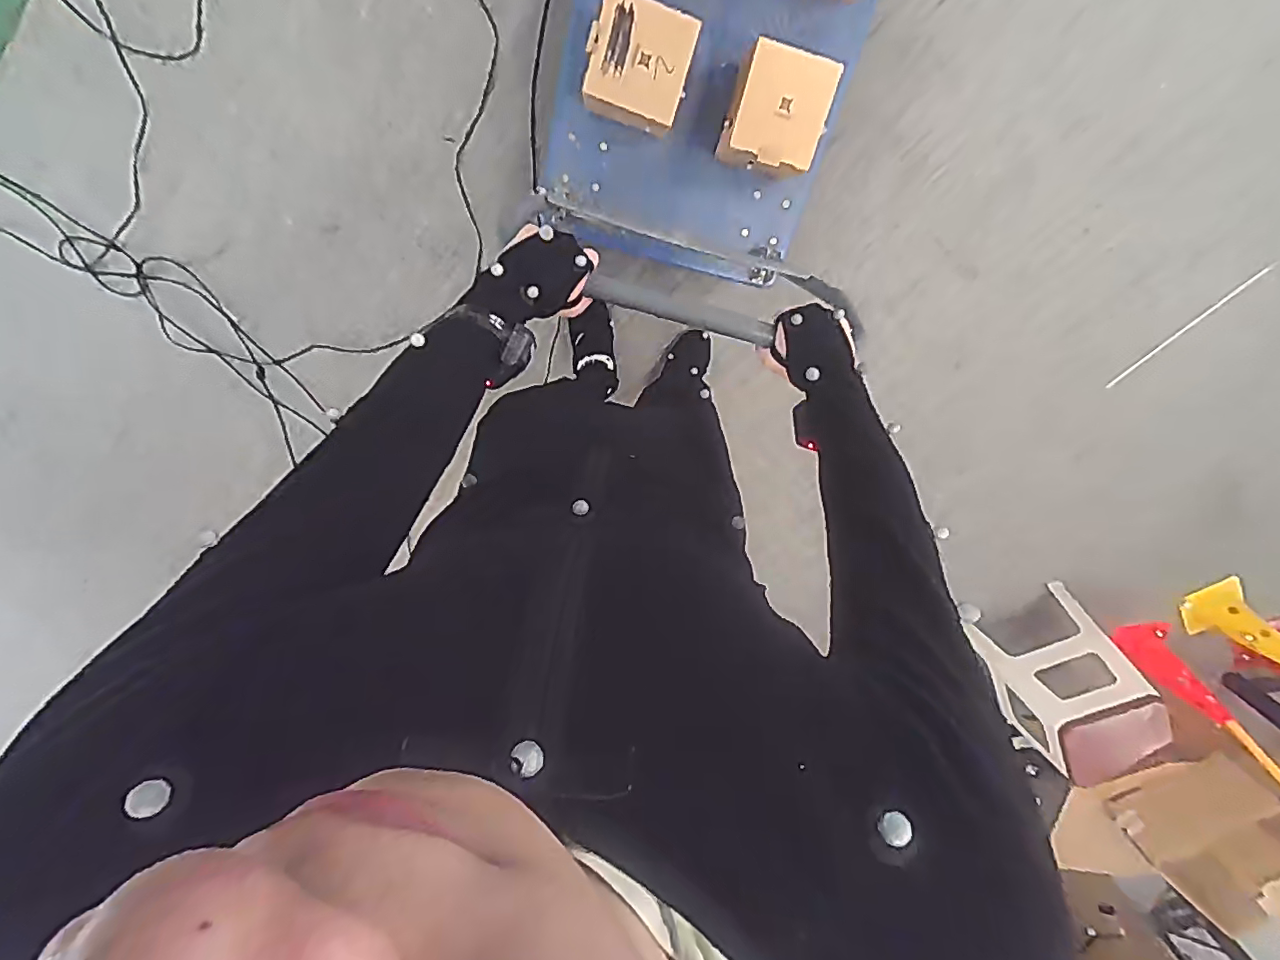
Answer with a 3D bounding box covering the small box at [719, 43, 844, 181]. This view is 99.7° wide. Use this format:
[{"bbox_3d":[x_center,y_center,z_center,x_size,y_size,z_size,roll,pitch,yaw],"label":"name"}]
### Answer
[{"bbox_3d":[0.267,-0.714,1.070,0.168,0.176,0.179,12,115,-8],"label":"small box"}]
